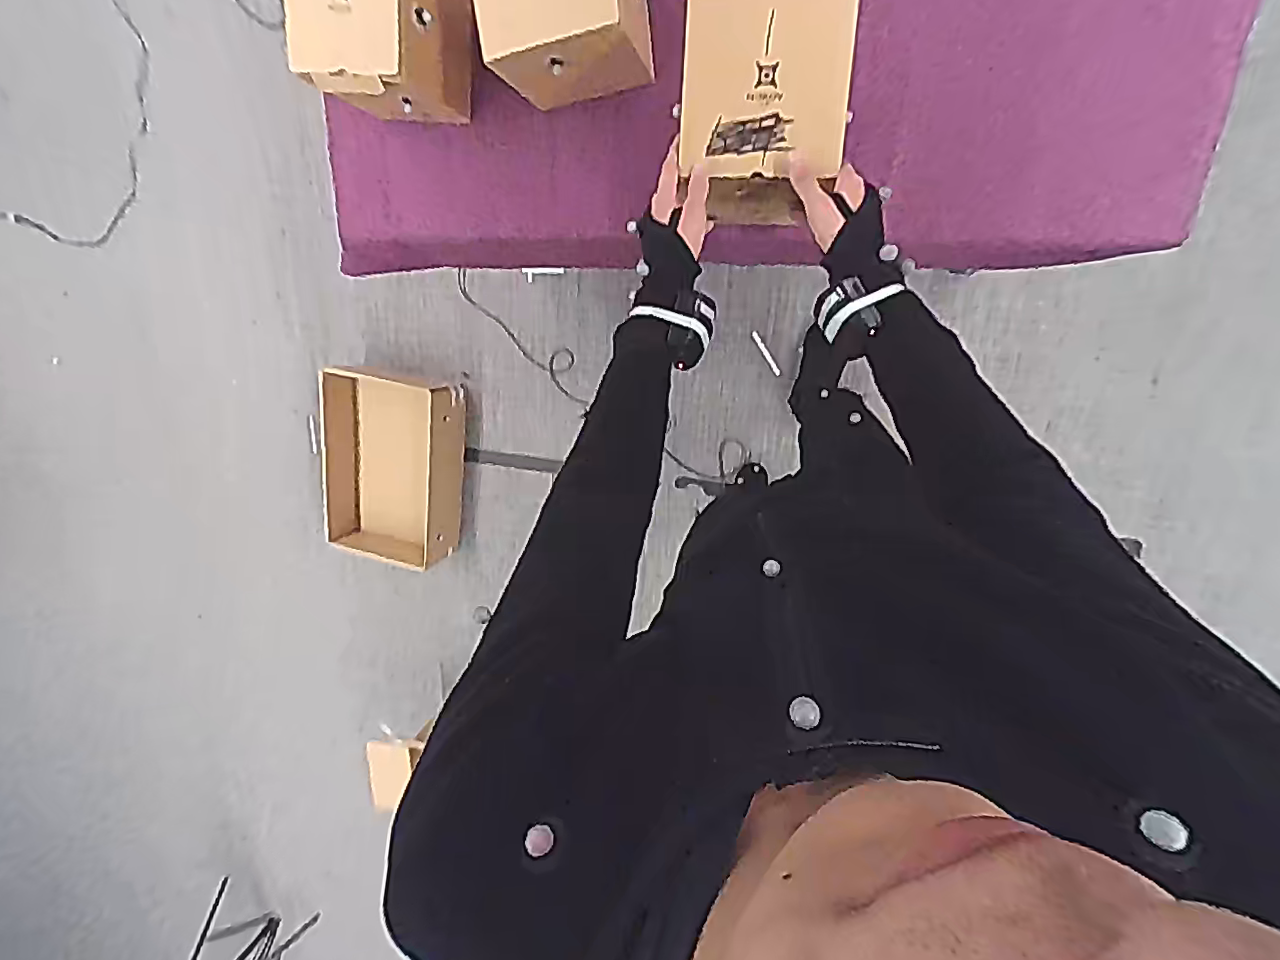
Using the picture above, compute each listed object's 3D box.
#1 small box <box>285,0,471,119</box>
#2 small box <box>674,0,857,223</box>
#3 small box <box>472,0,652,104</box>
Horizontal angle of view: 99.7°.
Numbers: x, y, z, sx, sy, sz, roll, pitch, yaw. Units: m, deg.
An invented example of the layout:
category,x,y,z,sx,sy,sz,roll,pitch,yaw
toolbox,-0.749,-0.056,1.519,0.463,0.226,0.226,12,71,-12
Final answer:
category,x,y,z,sx,sy,sz,roll,pitch,yaw
small box,-0.347,-0.620,0.738,0.168,0.176,0.179,11,108,11
small box,0.131,-0.402,0.611,0.168,0.176,0.179,4,101,6
small box,-0.094,-0.603,0.675,0.179,0.176,0.168,-3,106,15
